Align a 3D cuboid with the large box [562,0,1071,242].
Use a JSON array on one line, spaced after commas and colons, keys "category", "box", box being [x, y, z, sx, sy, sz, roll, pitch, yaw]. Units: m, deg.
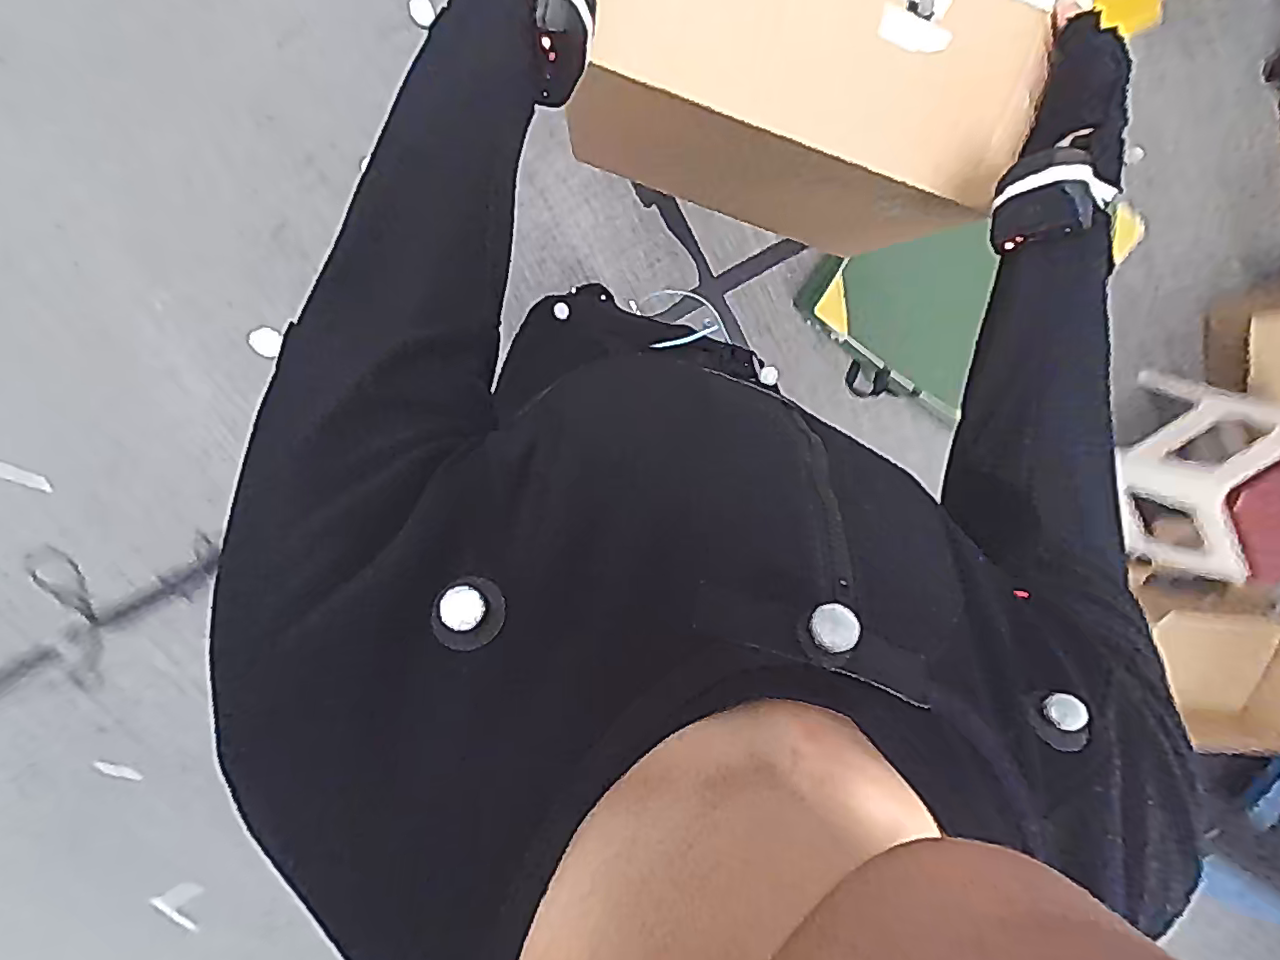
[{"category": "large box", "box": [0.152, -0.479, 0.563, 0.408, 0.320, 0.320, 14, 106, -9]}]
